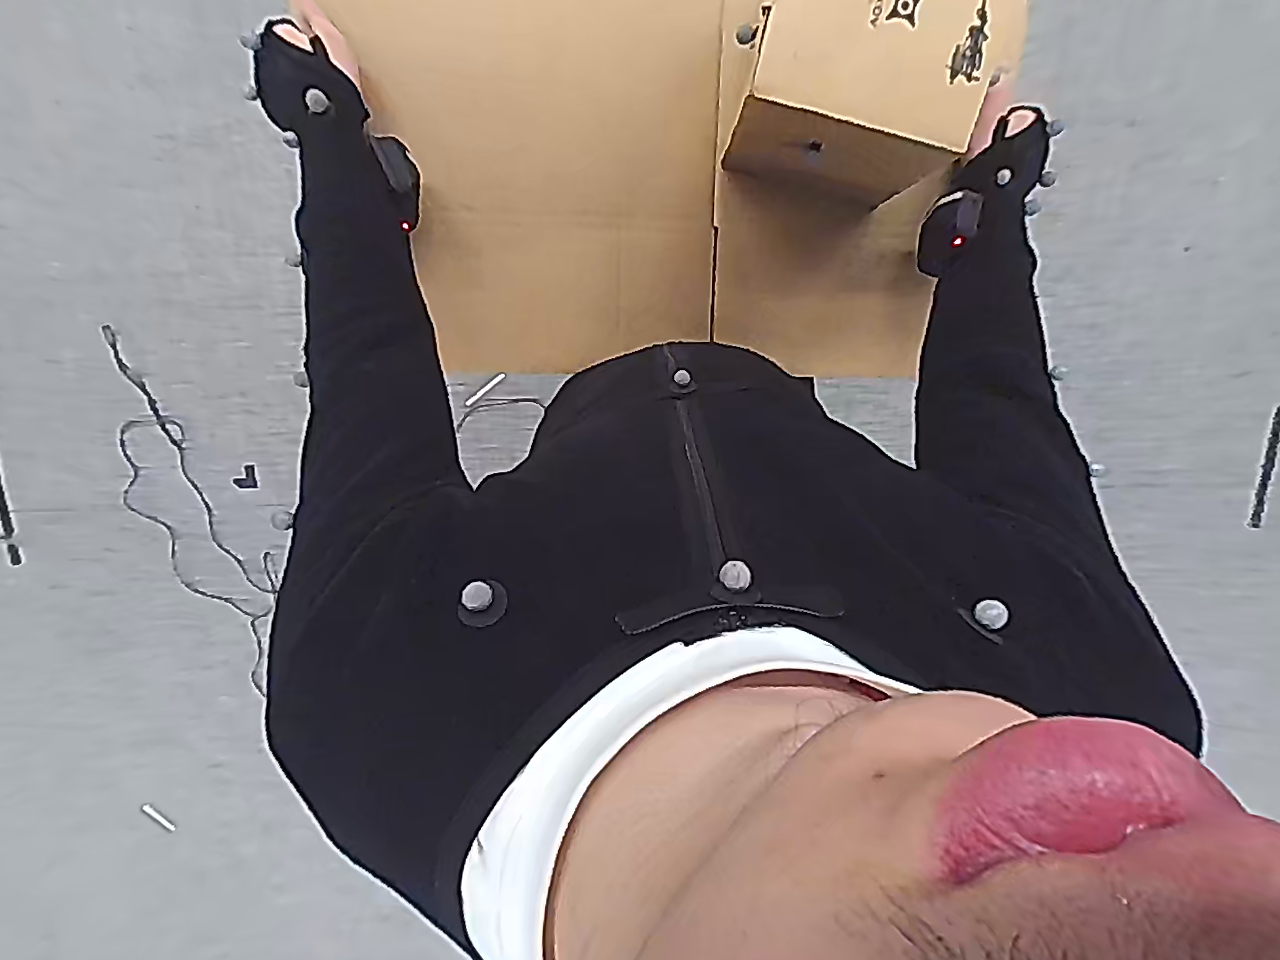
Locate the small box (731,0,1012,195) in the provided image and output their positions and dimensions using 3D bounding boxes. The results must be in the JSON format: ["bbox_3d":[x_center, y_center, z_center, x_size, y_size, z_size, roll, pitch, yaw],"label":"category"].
[{"bbox_3d":[0.189,-0.374,0.476,0.179,0.176,0.168,14,104,-1],"label":"small box"}]
